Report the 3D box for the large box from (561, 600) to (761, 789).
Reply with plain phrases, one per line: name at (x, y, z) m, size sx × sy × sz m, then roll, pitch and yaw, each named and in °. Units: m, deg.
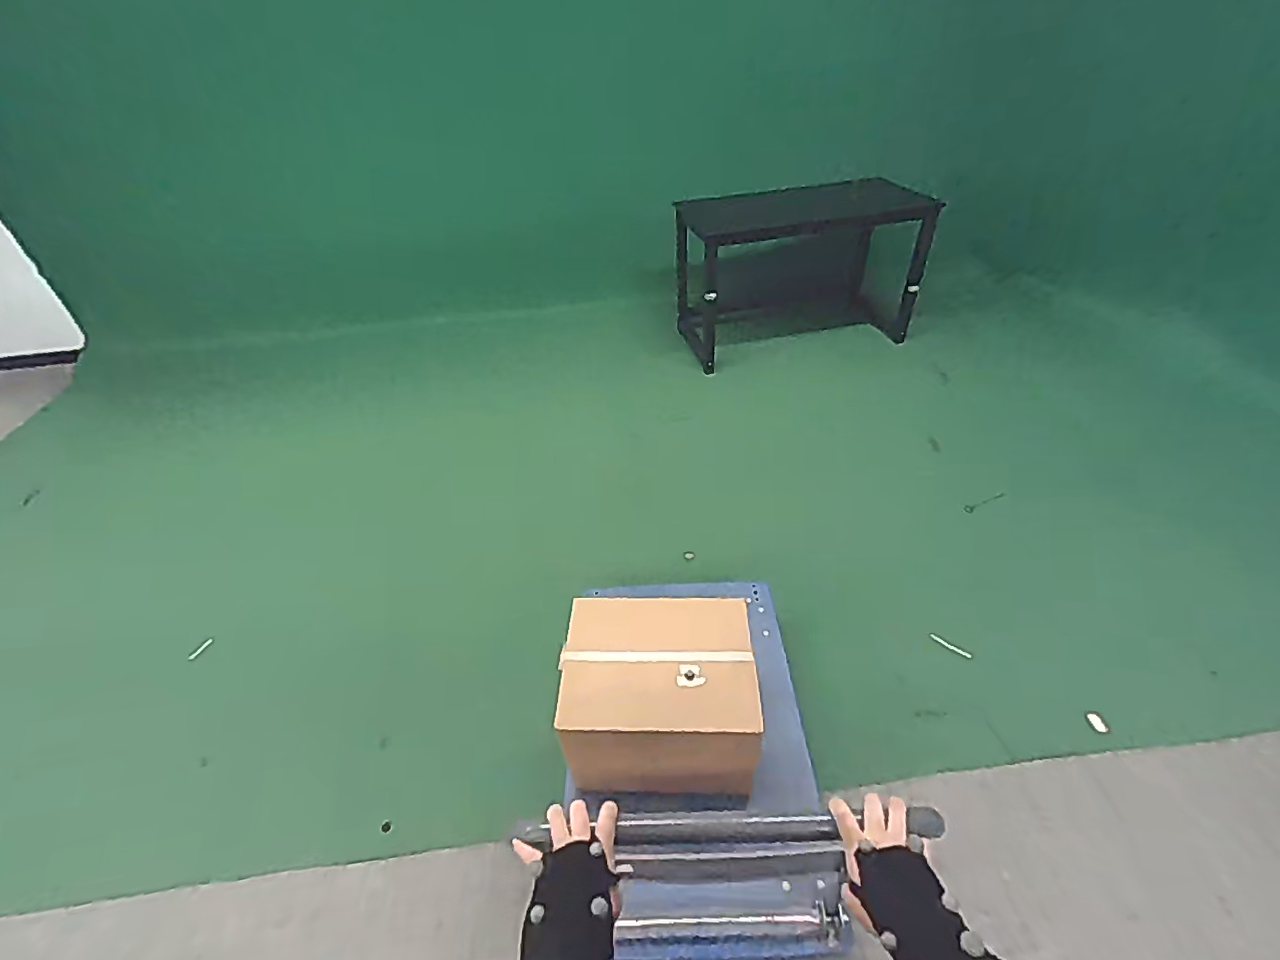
large box at (0.046, 0.499, 1.264) m, size 0.408 × 0.320 × 0.320 m, roll 0°, pitch 41°, yaw 3°
